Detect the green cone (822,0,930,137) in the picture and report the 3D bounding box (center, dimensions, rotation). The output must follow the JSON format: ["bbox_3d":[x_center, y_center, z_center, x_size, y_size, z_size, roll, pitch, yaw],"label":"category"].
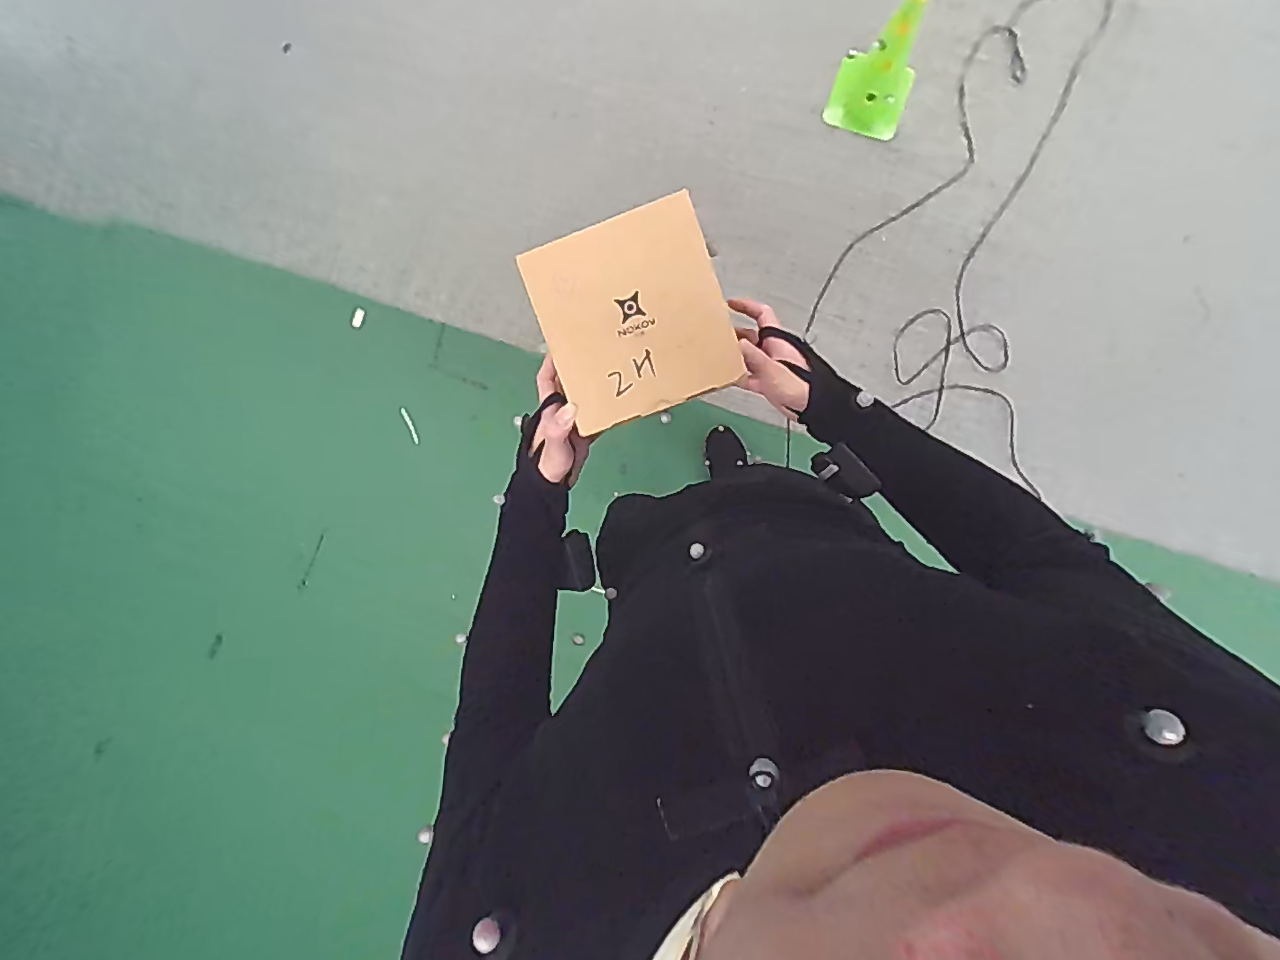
[{"bbox_3d":[0.615,-1.060,1.333,0.202,0.368,0.200,19,96,3],"label":"green cone"}]

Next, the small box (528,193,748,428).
[{"bbox_3d":[0.002,-0.161,0.575,0.168,0.176,0.179,-17,96,5],"label":"small box"}]
